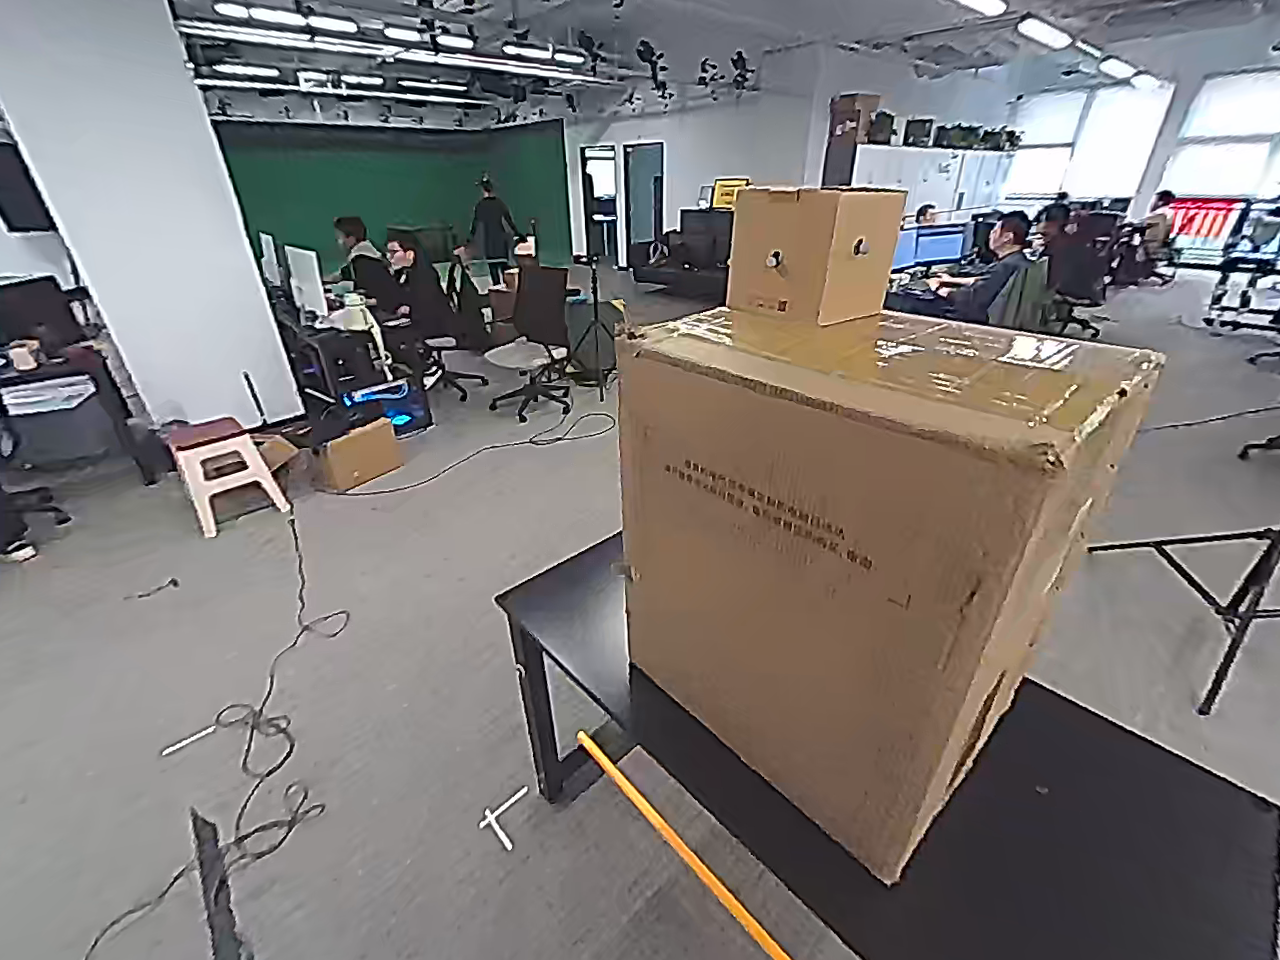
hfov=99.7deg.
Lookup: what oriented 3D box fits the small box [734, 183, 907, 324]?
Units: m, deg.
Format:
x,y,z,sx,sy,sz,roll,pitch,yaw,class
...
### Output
x,y,z,sx,sy,sz,roll,pitch,yaw,class
0.251,-0.331,0.783,0.179,0.176,0.168,-22,36,-35,small box
